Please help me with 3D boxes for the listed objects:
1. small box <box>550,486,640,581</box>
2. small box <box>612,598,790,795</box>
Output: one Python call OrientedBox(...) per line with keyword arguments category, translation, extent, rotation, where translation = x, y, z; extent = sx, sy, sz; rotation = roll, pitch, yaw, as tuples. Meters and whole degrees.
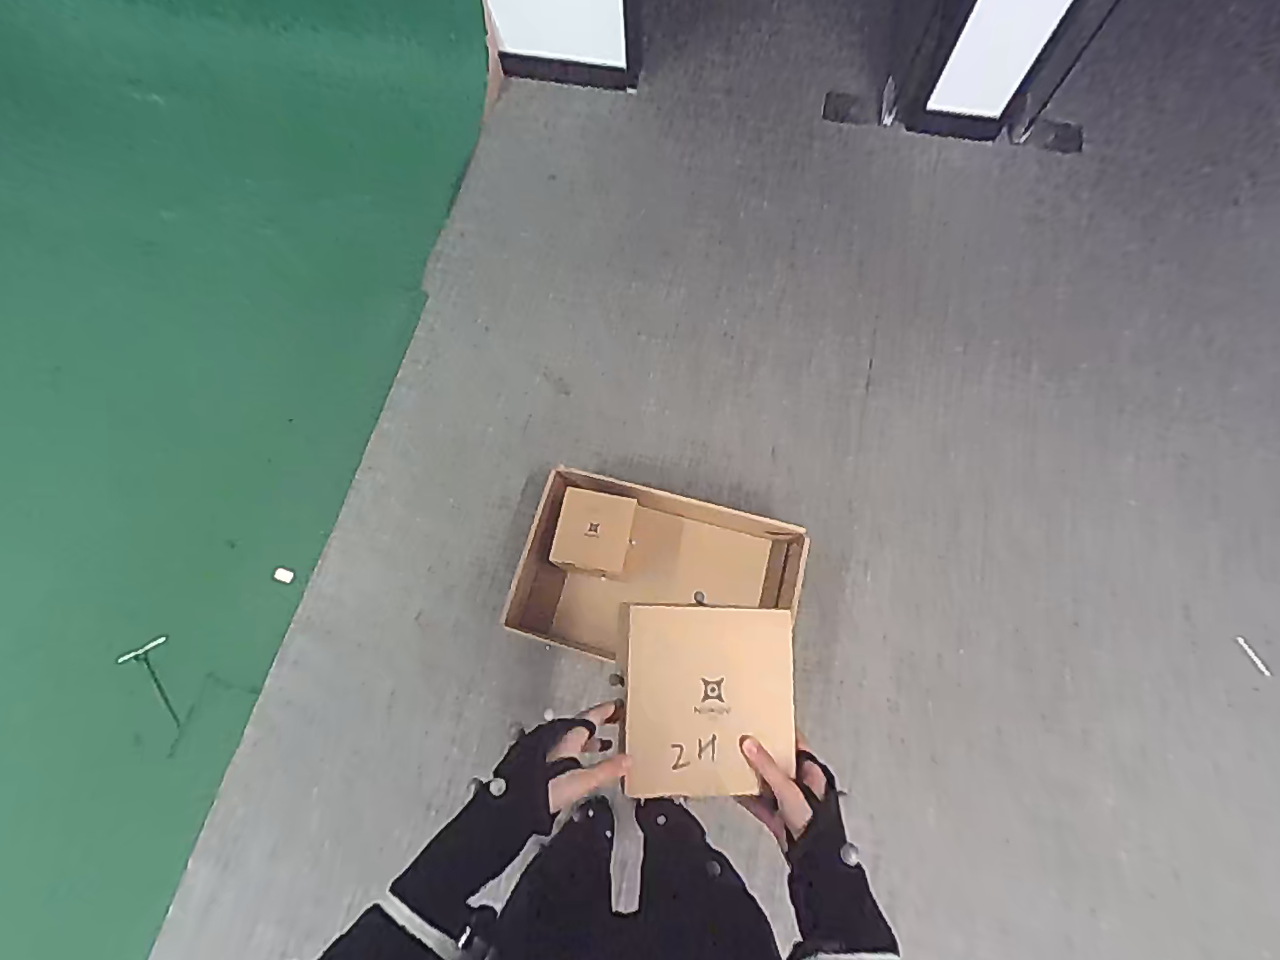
OrientedBox(category="small box", translation=(-0.097, 0.134, 1.278), extent=(0.168, 0.176, 0.179), rotation=(12, 74, 6))
OrientedBox(category="small box", translation=(0.057, 0.223, 0.597), extent=(0.168, 0.176, 0.179), rotation=(3, 78, -4))
